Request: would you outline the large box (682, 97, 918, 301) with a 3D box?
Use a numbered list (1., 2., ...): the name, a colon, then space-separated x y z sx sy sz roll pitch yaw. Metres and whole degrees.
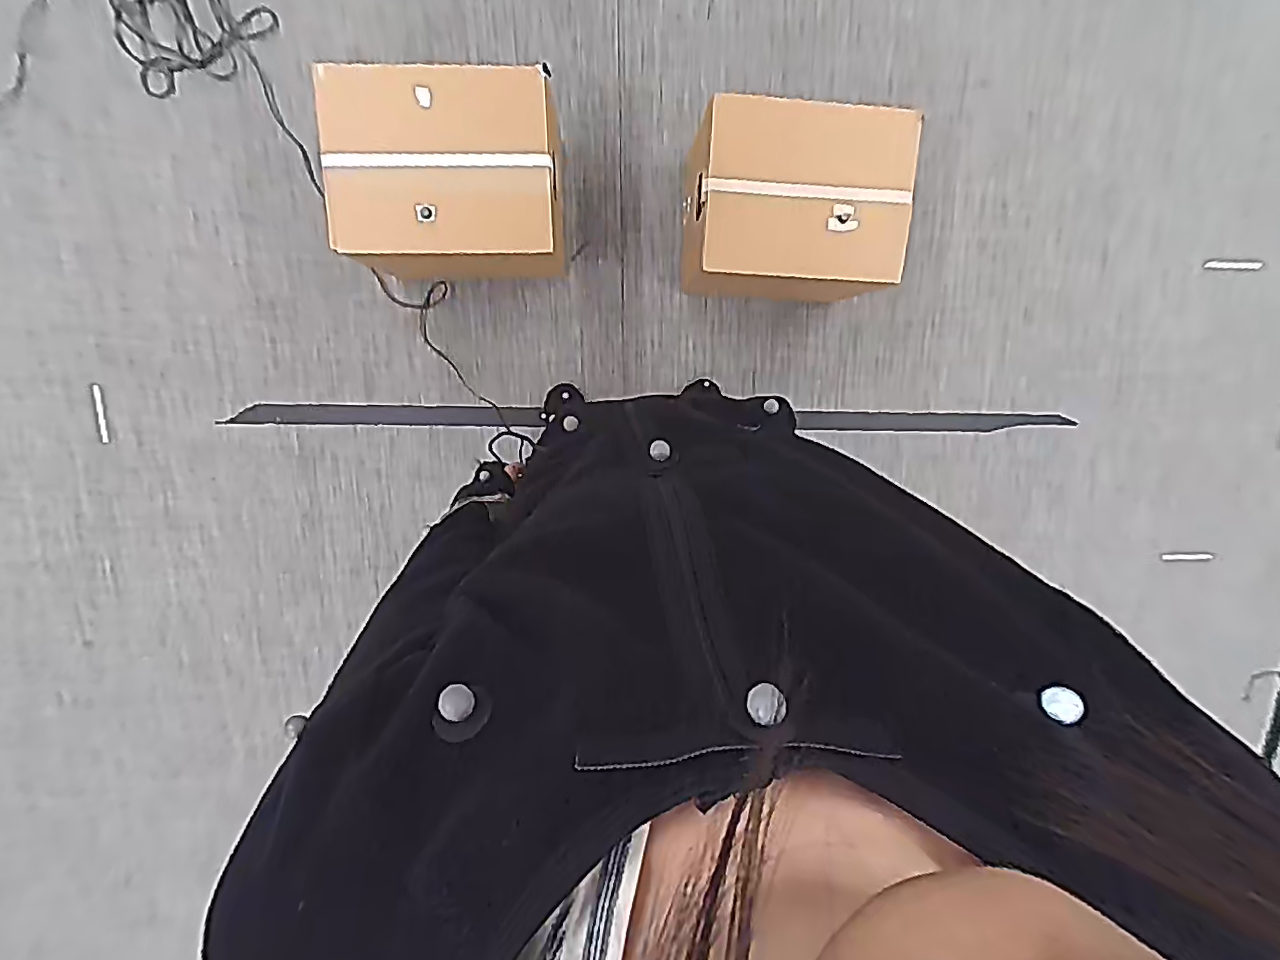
1. large box: 0.316 -0.582 1.188 0.408 0.320 0.320 2 101 -5
